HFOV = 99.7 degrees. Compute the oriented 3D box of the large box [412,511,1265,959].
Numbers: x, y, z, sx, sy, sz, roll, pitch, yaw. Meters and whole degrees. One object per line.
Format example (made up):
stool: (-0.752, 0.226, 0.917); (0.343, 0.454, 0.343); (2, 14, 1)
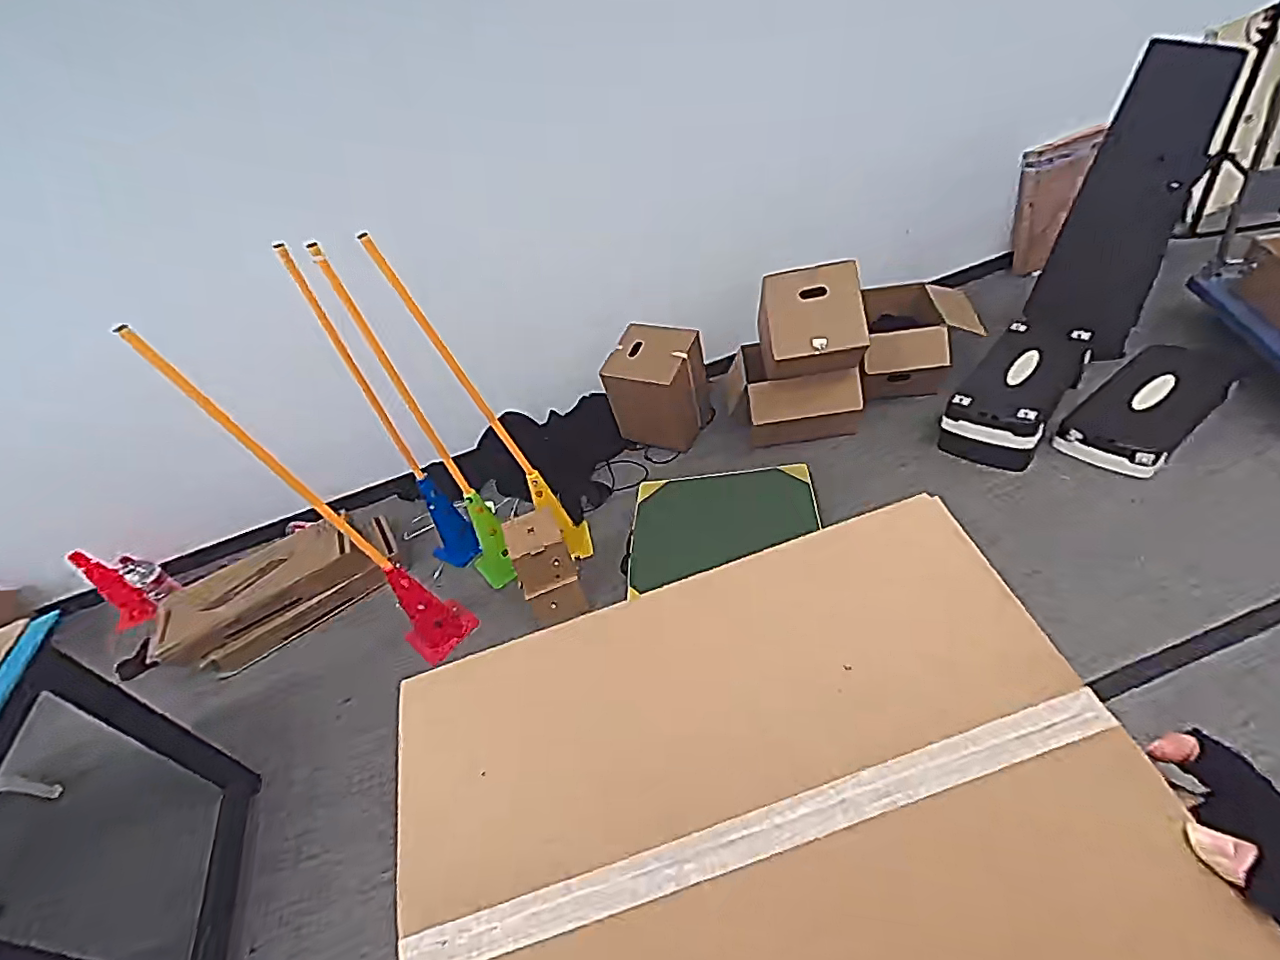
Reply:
large box: (0.094, 0.287, 0.421); (0.408, 0.320, 0.320); (-20, 52, 0)
